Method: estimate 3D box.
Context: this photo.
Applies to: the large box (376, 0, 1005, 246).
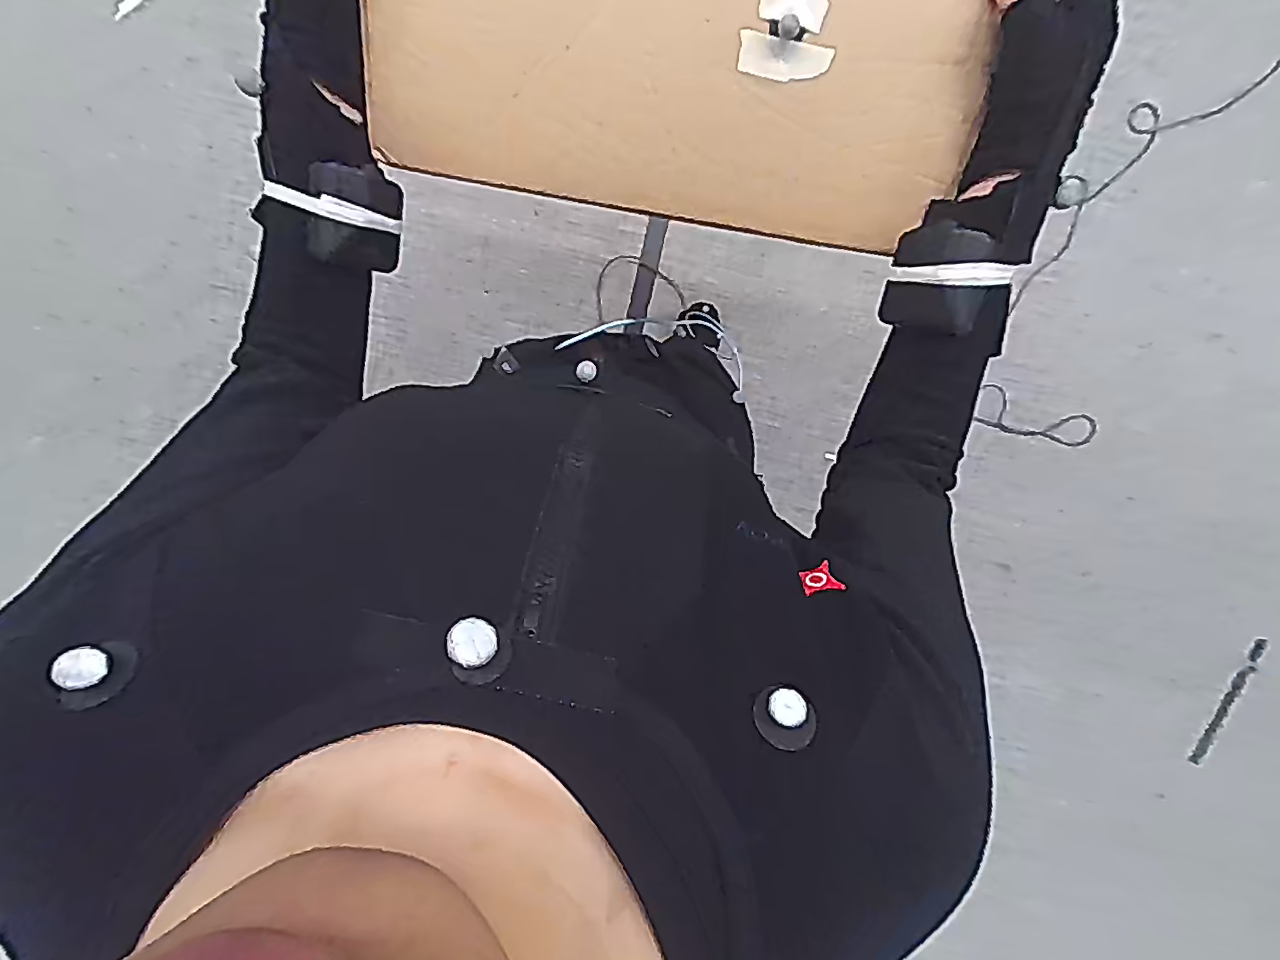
[{"bbox_3d":[0.039,-0.401,0.460,0.408,0.320,0.320,9,118,-2],"label":"large box"}]
